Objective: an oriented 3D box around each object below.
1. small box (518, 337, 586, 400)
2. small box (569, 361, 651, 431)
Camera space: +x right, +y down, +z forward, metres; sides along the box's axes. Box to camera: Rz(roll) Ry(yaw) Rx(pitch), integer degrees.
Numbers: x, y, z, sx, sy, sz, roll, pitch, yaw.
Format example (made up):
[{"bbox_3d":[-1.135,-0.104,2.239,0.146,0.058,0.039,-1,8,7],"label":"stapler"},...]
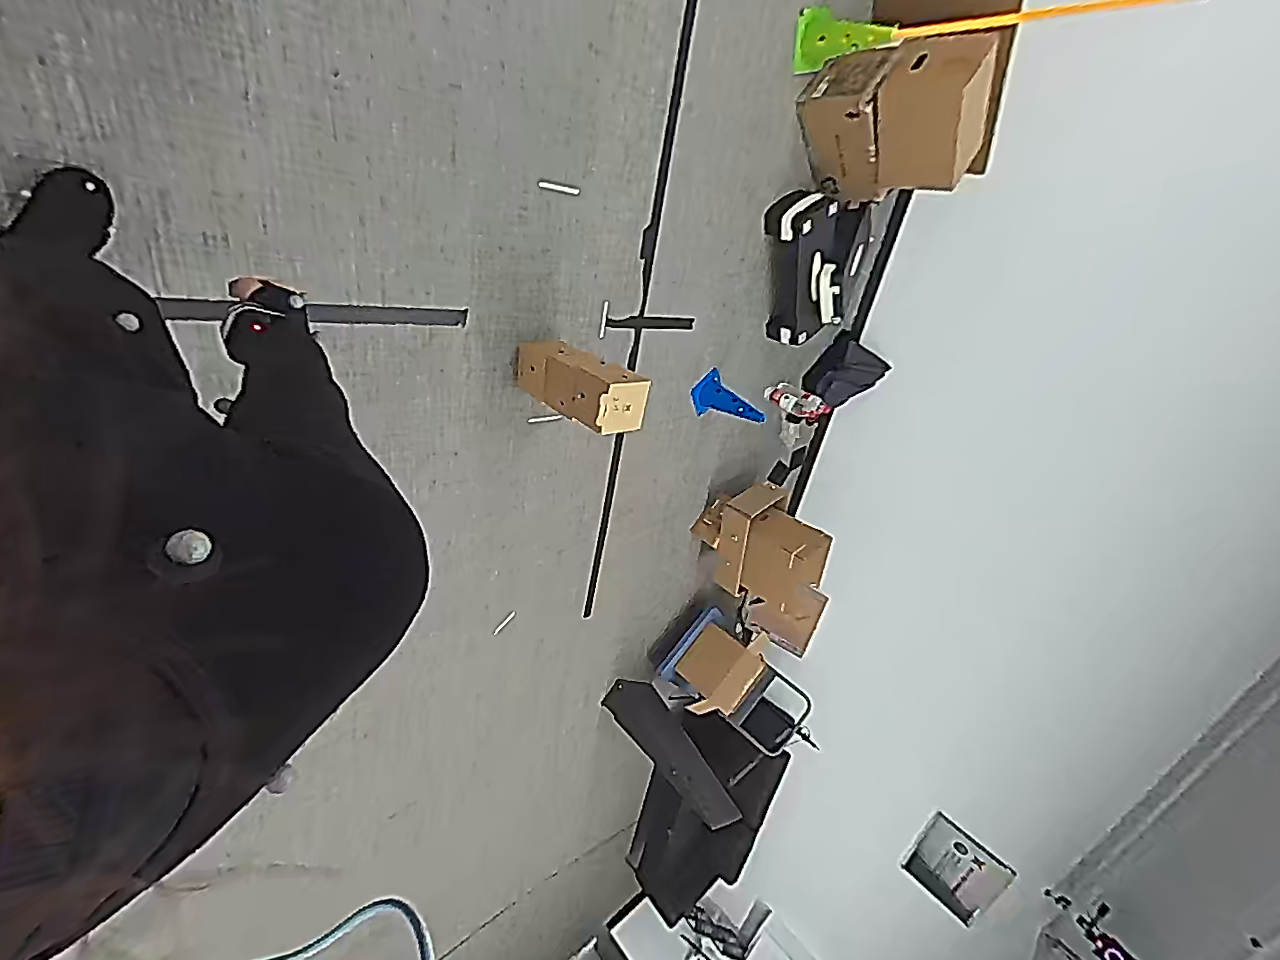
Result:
[{"bbox_3d":[-0.316,-0.397,1.908,0.179,0.176,0.168,-19,130,-40],"label":"small box"},{"bbox_3d":[-0.096,-0.268,1.696,0.179,0.176,0.168,-13,126,-43],"label":"small box"}]
